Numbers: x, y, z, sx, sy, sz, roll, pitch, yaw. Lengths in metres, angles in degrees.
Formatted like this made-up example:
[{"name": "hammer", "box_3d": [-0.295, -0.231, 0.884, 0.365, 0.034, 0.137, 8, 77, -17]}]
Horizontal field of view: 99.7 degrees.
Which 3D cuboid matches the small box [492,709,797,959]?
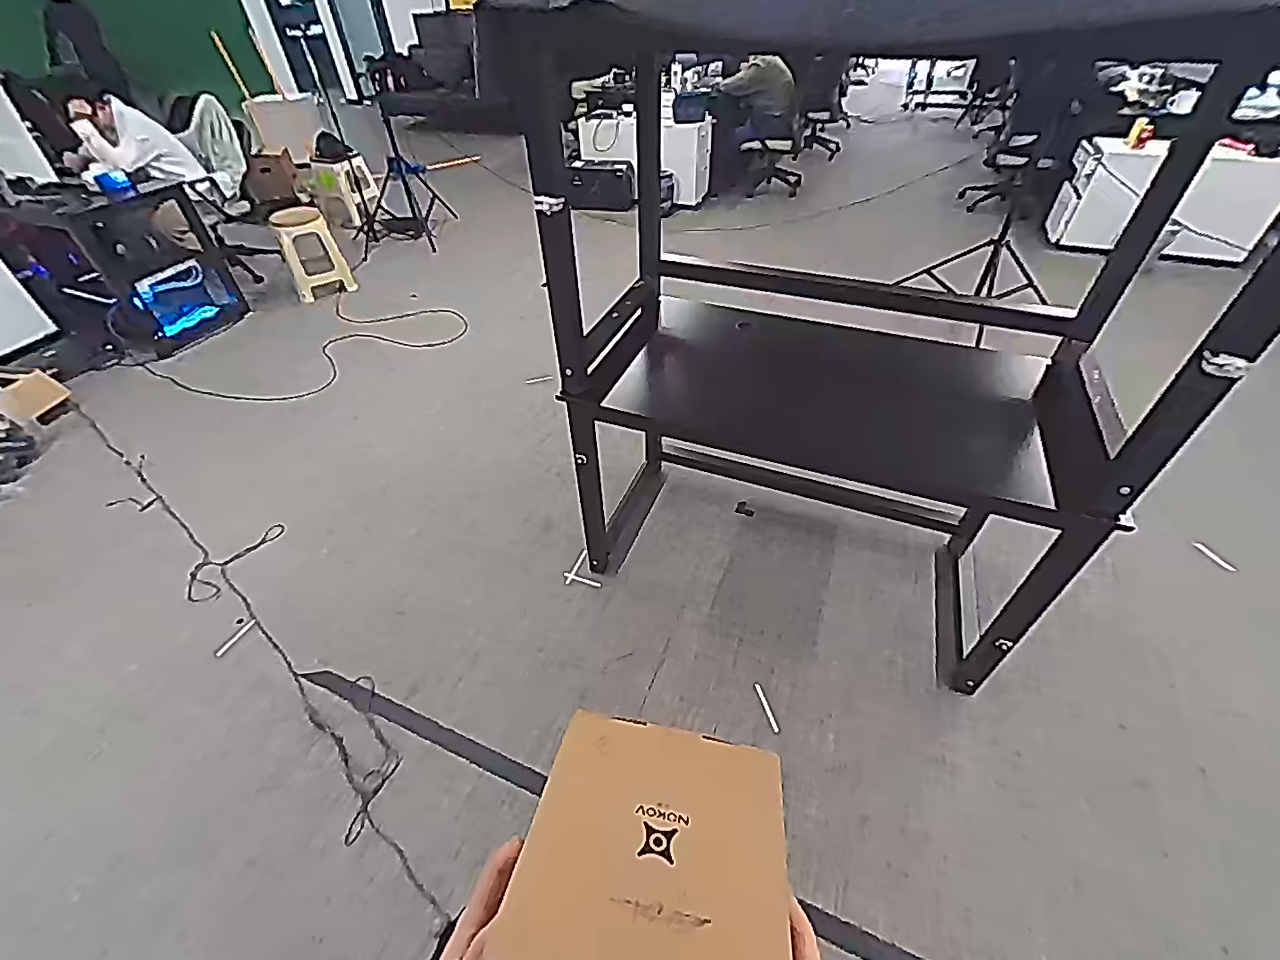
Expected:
[{"name": "small box", "box_3d": [0.007, 0.303, 0.380, 0.168, 0.176, 0.179, 9, 24, 7]}]
